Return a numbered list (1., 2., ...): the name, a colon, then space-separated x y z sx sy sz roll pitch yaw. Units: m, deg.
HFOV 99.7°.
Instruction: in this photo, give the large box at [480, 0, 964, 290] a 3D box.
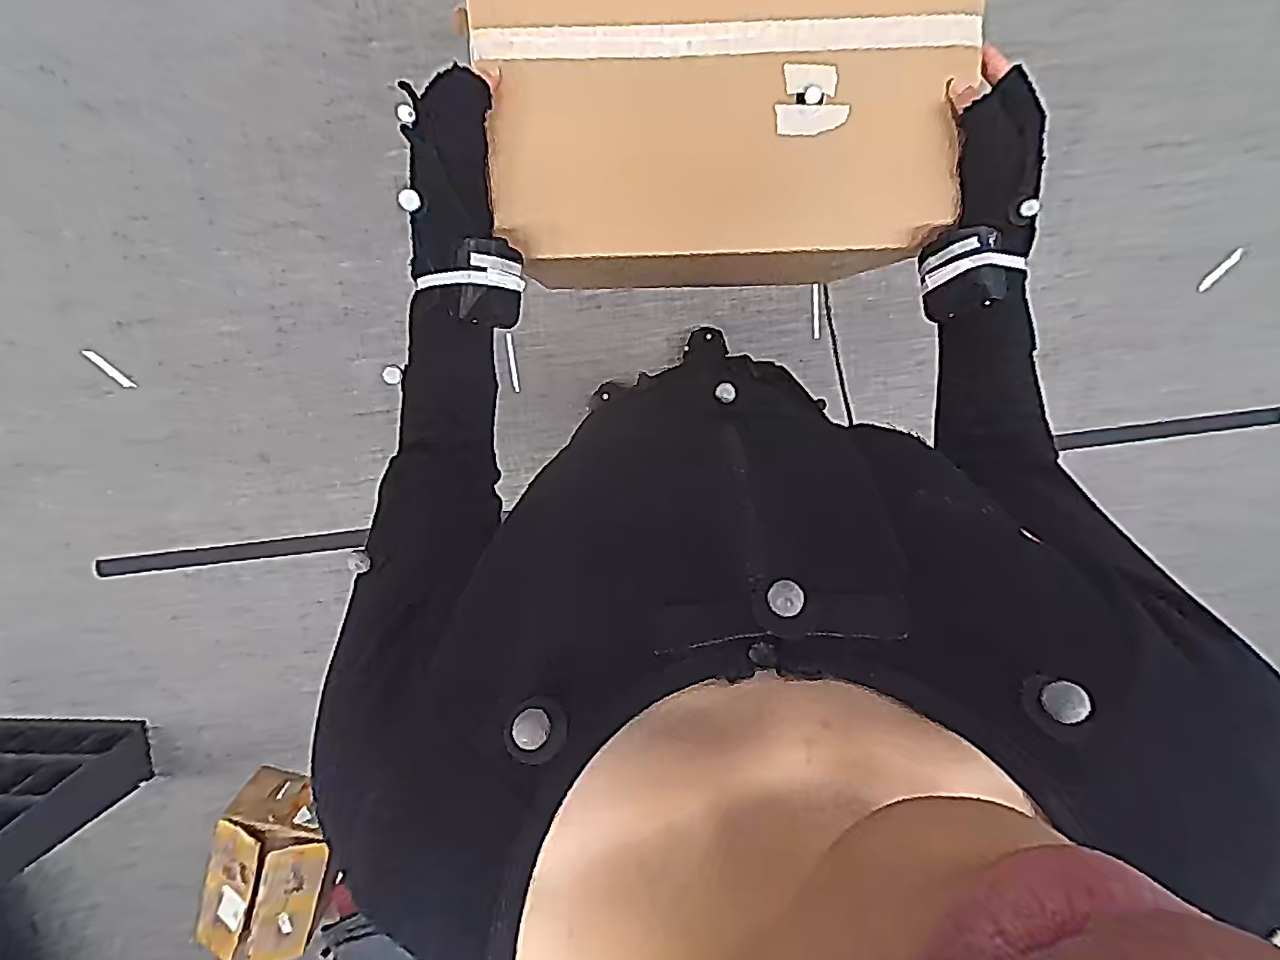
1. large box: 0.064 -0.394 0.593 0.408 0.320 0.320 -3 105 -1
